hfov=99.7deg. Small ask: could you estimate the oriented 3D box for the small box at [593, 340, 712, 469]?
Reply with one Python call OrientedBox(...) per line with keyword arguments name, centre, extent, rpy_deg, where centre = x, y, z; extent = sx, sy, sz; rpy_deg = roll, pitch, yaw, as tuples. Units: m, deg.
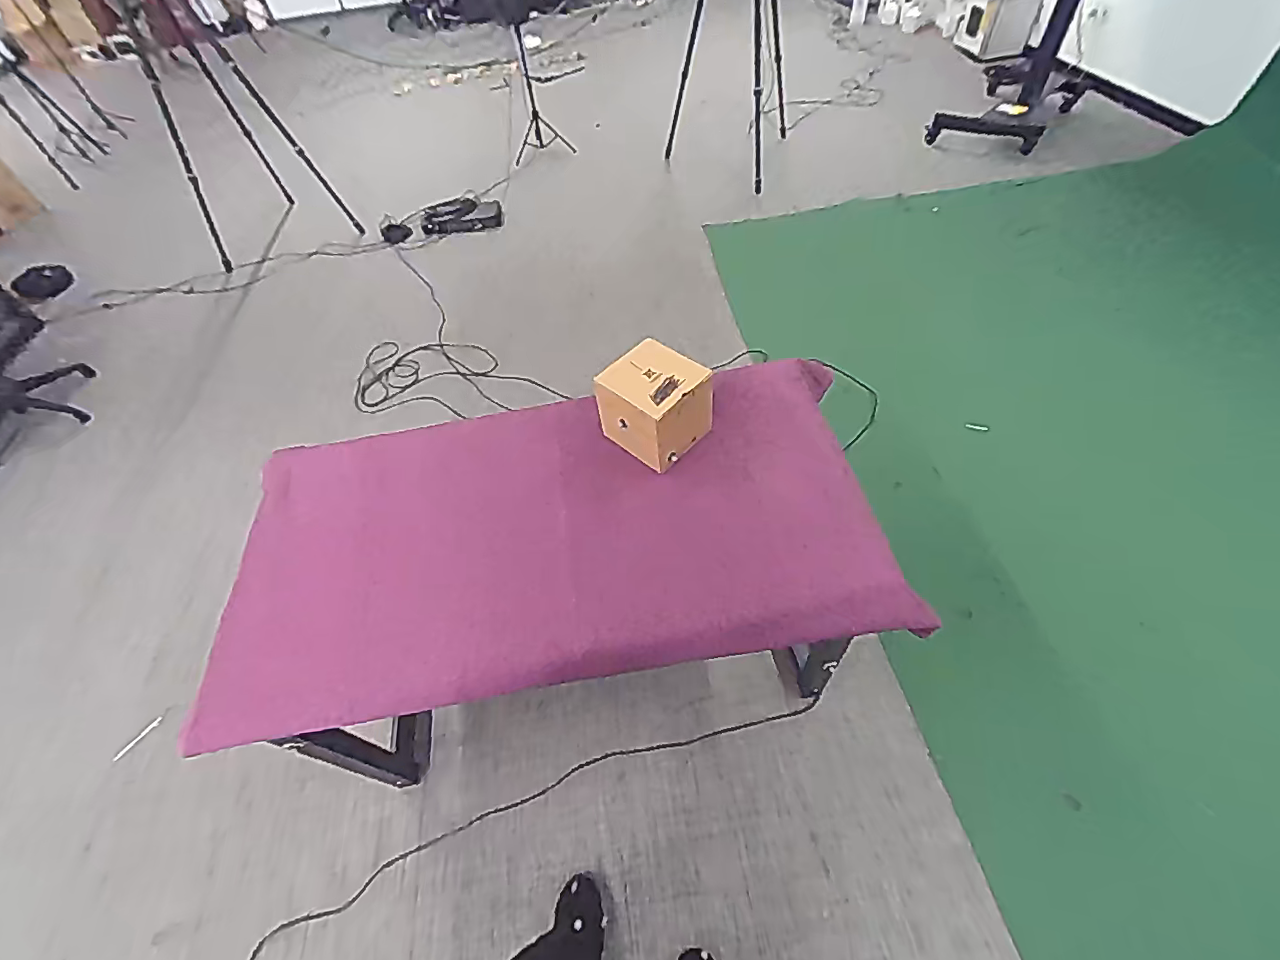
OrientedBox(name="small box", centre=(0.031, -0.148, 1.109), extent=(0.179, 0.176, 0.168), rpy_deg=(36, 64, 28))
